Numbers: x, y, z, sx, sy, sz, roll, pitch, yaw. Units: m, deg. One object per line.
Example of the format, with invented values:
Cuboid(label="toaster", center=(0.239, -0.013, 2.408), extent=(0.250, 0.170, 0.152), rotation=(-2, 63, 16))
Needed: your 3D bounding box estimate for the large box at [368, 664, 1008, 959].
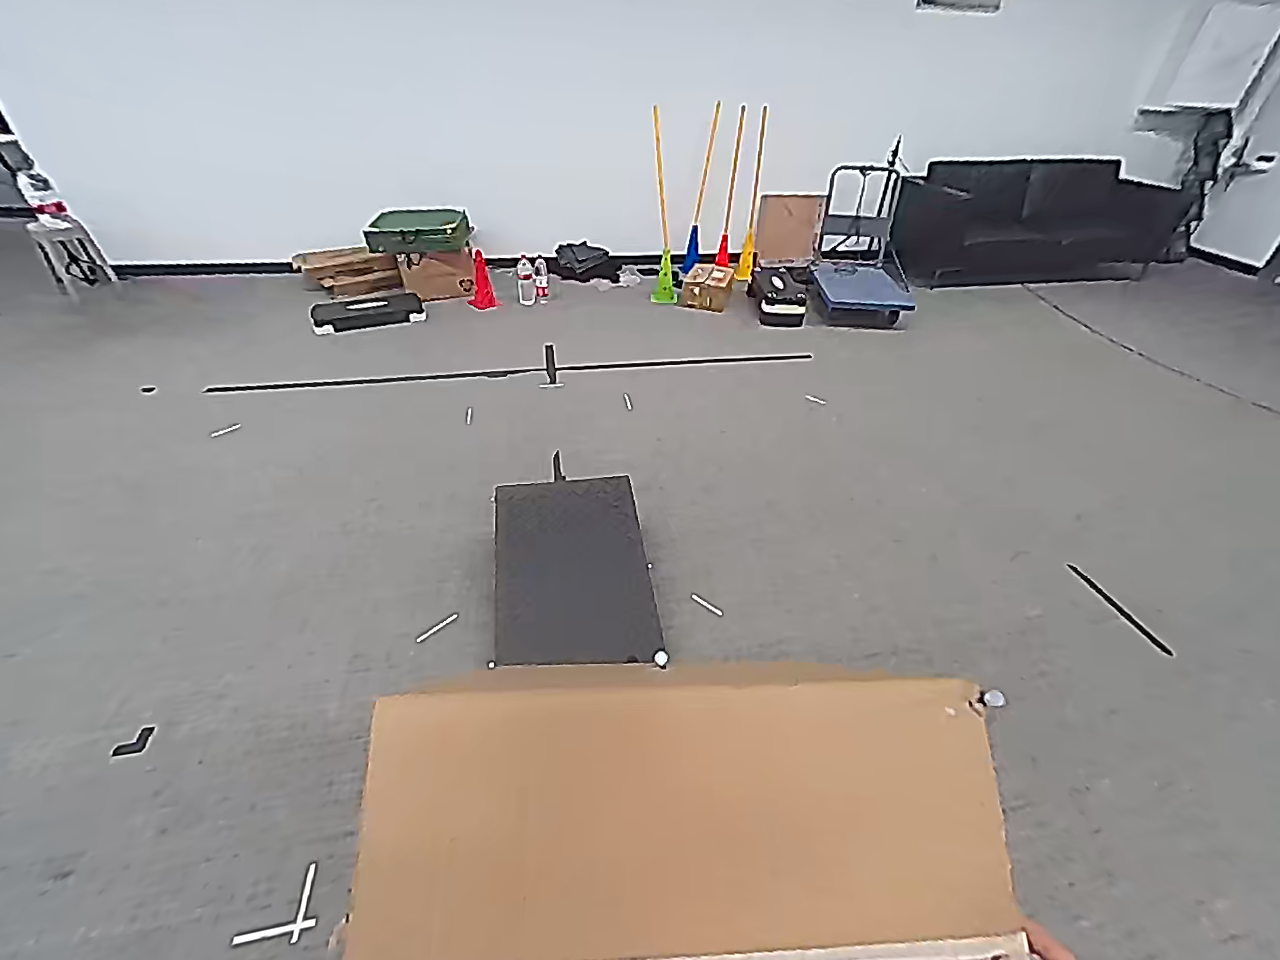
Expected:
Cuboid(label="large box", center=(0.023, 0.338, 0.473), extent=(0.408, 0.320, 0.320), rotation=(-1, 75, -5))
